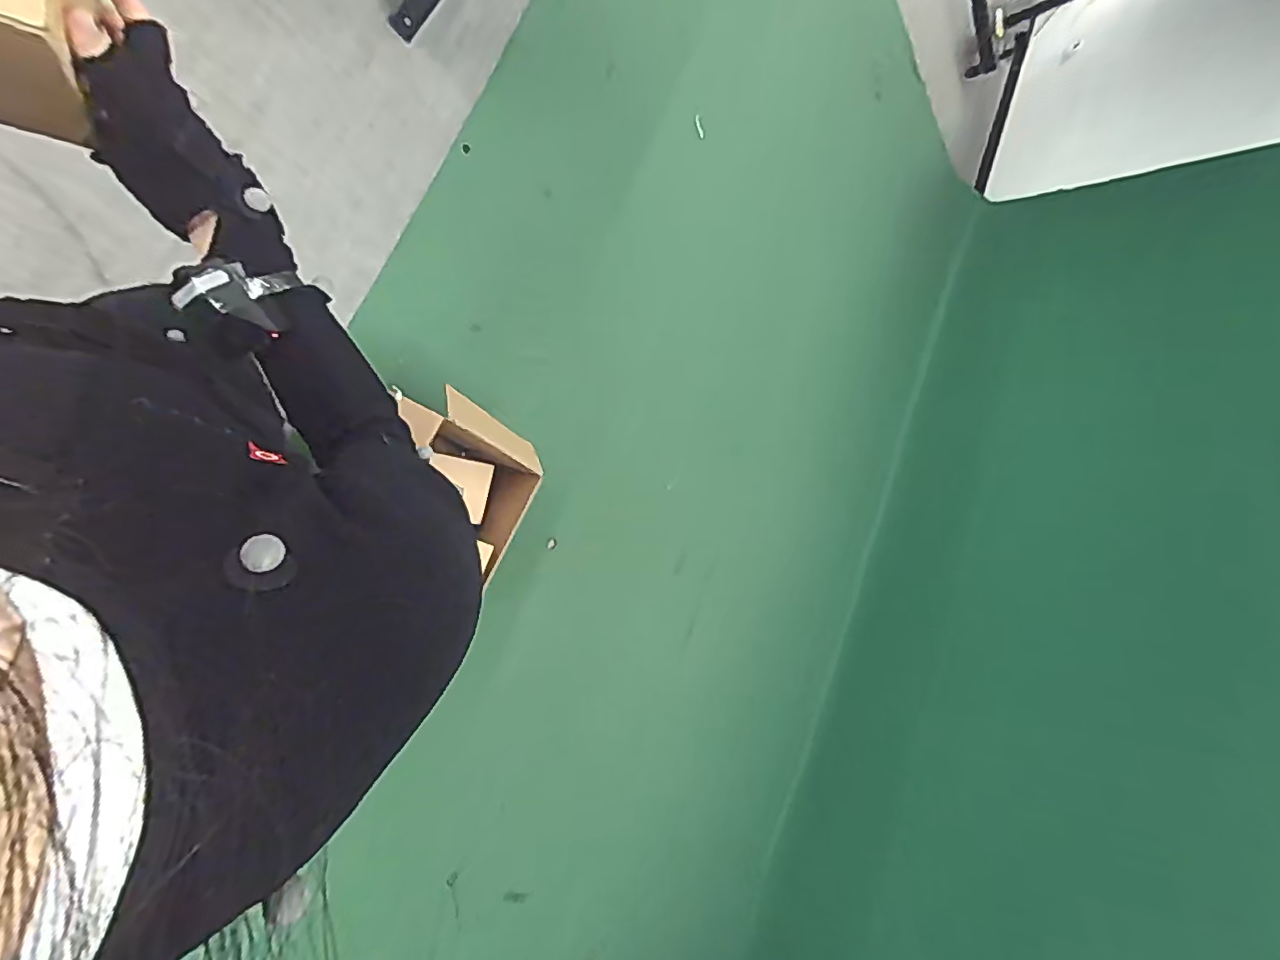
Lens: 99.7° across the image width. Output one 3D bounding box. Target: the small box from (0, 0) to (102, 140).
[{"bbox_3d":[-0.418,-0.328,0.291,0.168,0.176,0.179,0,99,-39],"label":"small box"}]
